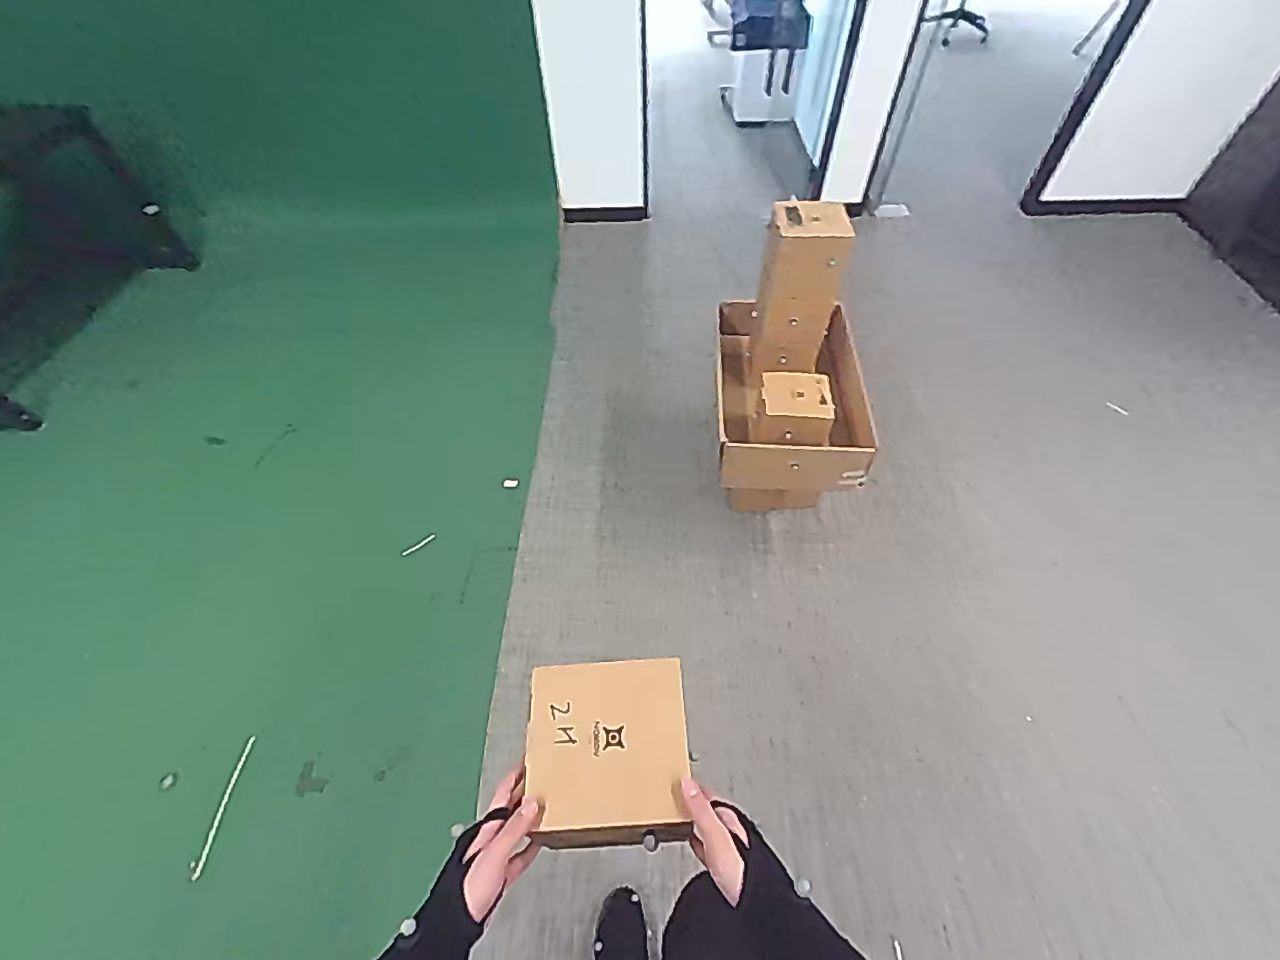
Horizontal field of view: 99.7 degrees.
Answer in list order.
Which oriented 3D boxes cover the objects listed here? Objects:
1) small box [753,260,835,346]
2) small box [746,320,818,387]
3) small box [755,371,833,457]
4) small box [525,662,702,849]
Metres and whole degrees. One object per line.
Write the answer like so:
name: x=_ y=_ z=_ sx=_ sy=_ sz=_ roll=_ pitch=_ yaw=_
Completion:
small box: x=0.420 y=-0.487 z=1.502 sx=0.179 sy=0.176 sz=0.168 roll=0 pitch=54 yaw=2
small box: x=0.424 y=-0.394 z=1.638 sx=0.179 sy=0.176 sz=0.168 roll=2 pitch=54 yaw=3
small box: x=0.410 y=-0.177 z=1.474 sx=0.179 sy=0.176 sz=0.168 roll=3 pitch=53 yaw=4
small box: x=-0.024 y=0.327 z=0.638 sx=0.179 sy=0.176 sz=0.168 roll=-4 pitch=51 yaw=2
